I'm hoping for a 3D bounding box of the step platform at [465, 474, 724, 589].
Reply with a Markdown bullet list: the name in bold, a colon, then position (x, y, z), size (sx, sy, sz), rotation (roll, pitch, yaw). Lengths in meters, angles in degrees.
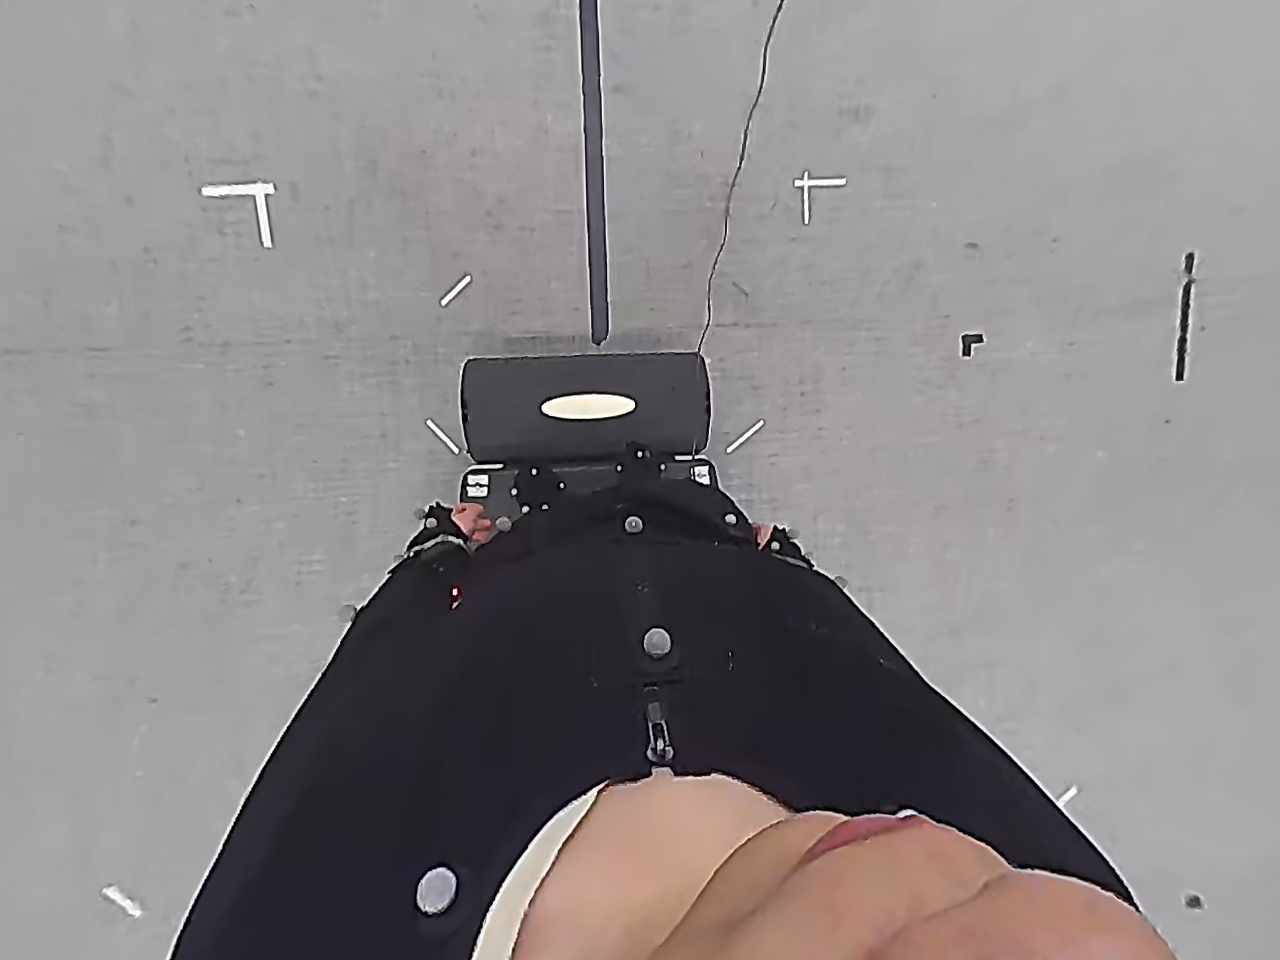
- **step platform**: position (-0.116, 0.138, 1.465), size (0.684, 0.204, 0.286), rotation (2, 93, -5)
